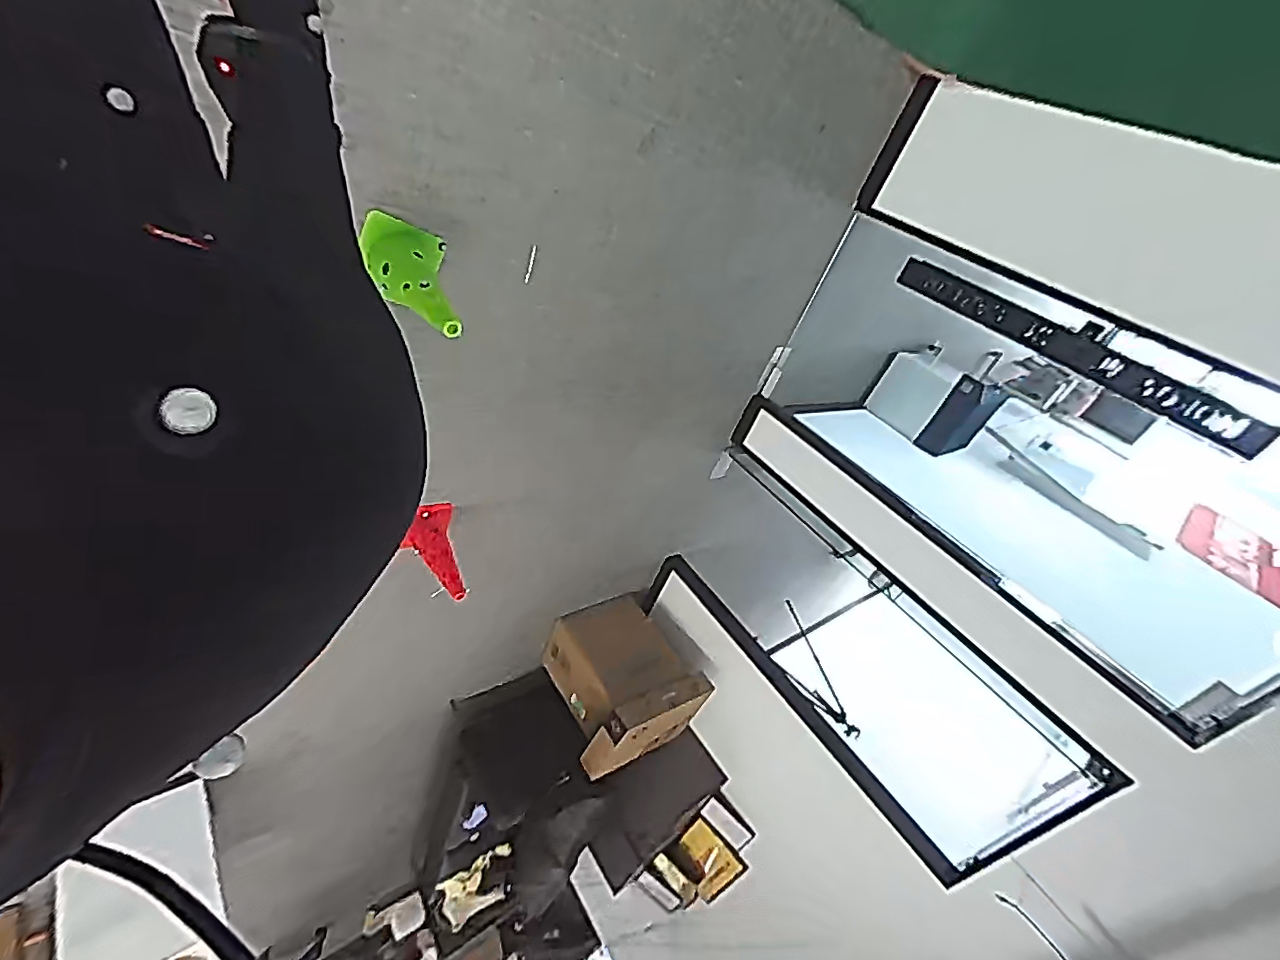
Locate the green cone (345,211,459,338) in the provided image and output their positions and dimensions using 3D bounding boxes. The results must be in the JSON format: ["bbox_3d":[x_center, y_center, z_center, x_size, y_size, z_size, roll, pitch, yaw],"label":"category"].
[{"bbox_3d":[-0.513,-0.439,1.261,0.200,0.368,0.202,5,125,-49],"label":"green cone"}]
